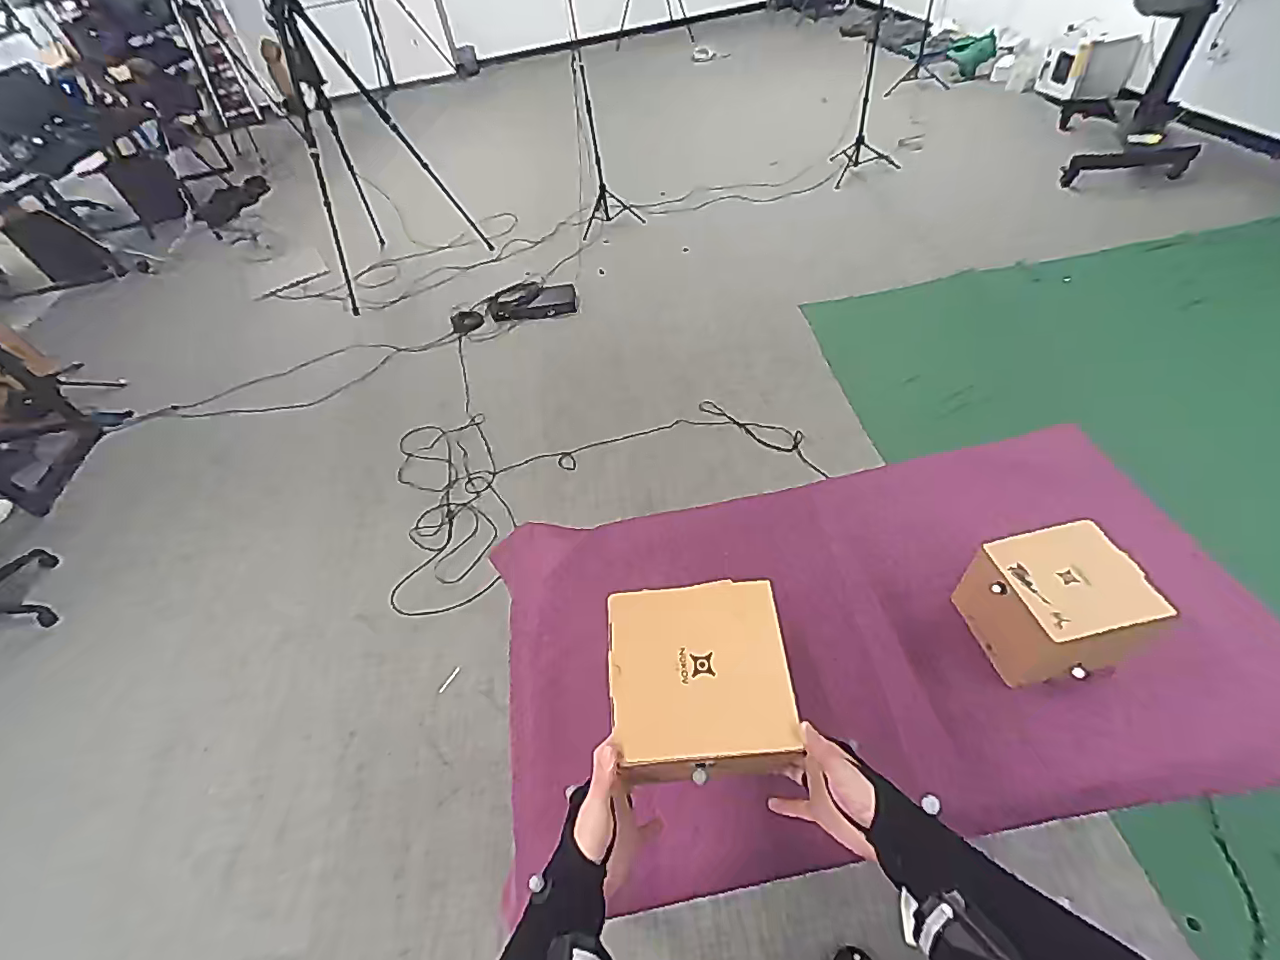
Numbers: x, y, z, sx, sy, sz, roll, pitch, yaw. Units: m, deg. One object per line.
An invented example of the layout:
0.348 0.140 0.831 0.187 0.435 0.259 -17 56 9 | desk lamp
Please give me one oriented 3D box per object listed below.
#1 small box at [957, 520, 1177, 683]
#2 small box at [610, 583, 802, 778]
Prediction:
0.631 0.189 0.830 0.179 0.176 0.168 -13 48 0 | small box
0.065 0.229 0.603 0.179 0.176 0.168 -7 56 3 | small box
